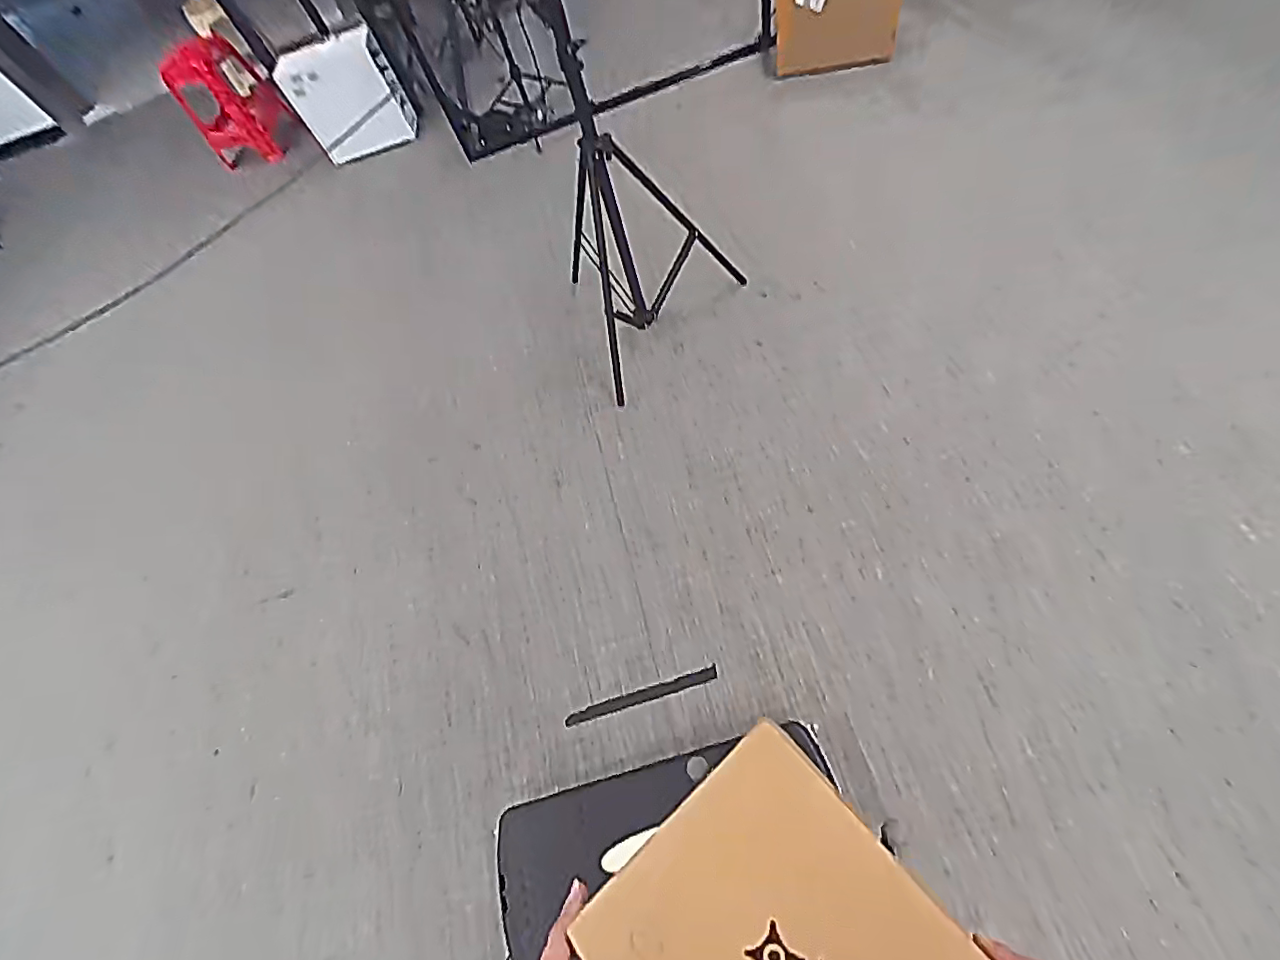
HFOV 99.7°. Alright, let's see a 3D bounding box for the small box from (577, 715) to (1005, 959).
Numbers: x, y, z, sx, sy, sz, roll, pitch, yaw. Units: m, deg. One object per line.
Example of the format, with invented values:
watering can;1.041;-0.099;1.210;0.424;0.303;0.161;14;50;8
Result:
small box;0.092;0.281;0.350;0.168;0.176;0.179;-43;66;-8
